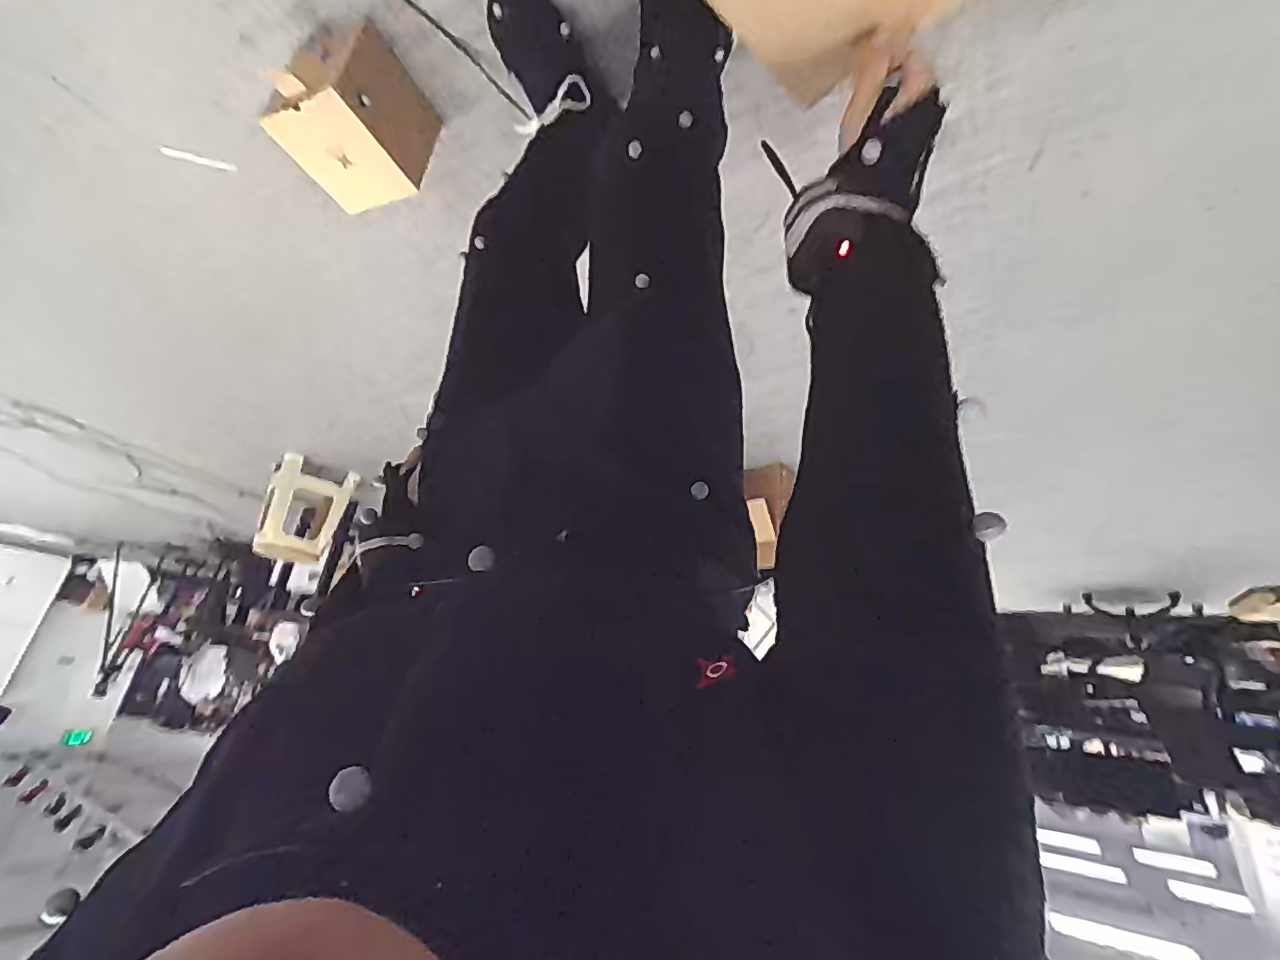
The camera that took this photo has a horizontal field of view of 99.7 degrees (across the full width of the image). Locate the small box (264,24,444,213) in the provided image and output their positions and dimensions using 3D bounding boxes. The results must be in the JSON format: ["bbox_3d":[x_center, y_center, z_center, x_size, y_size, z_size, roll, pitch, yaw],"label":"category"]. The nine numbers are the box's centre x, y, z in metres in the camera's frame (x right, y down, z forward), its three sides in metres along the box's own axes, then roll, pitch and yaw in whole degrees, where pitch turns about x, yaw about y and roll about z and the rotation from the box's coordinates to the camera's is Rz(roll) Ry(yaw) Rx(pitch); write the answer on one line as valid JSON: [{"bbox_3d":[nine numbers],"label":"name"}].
[{"bbox_3d":[-0.454,-0.583,0.887,0.168,0.176,0.179,-2,155,22],"label":"small box"}]
